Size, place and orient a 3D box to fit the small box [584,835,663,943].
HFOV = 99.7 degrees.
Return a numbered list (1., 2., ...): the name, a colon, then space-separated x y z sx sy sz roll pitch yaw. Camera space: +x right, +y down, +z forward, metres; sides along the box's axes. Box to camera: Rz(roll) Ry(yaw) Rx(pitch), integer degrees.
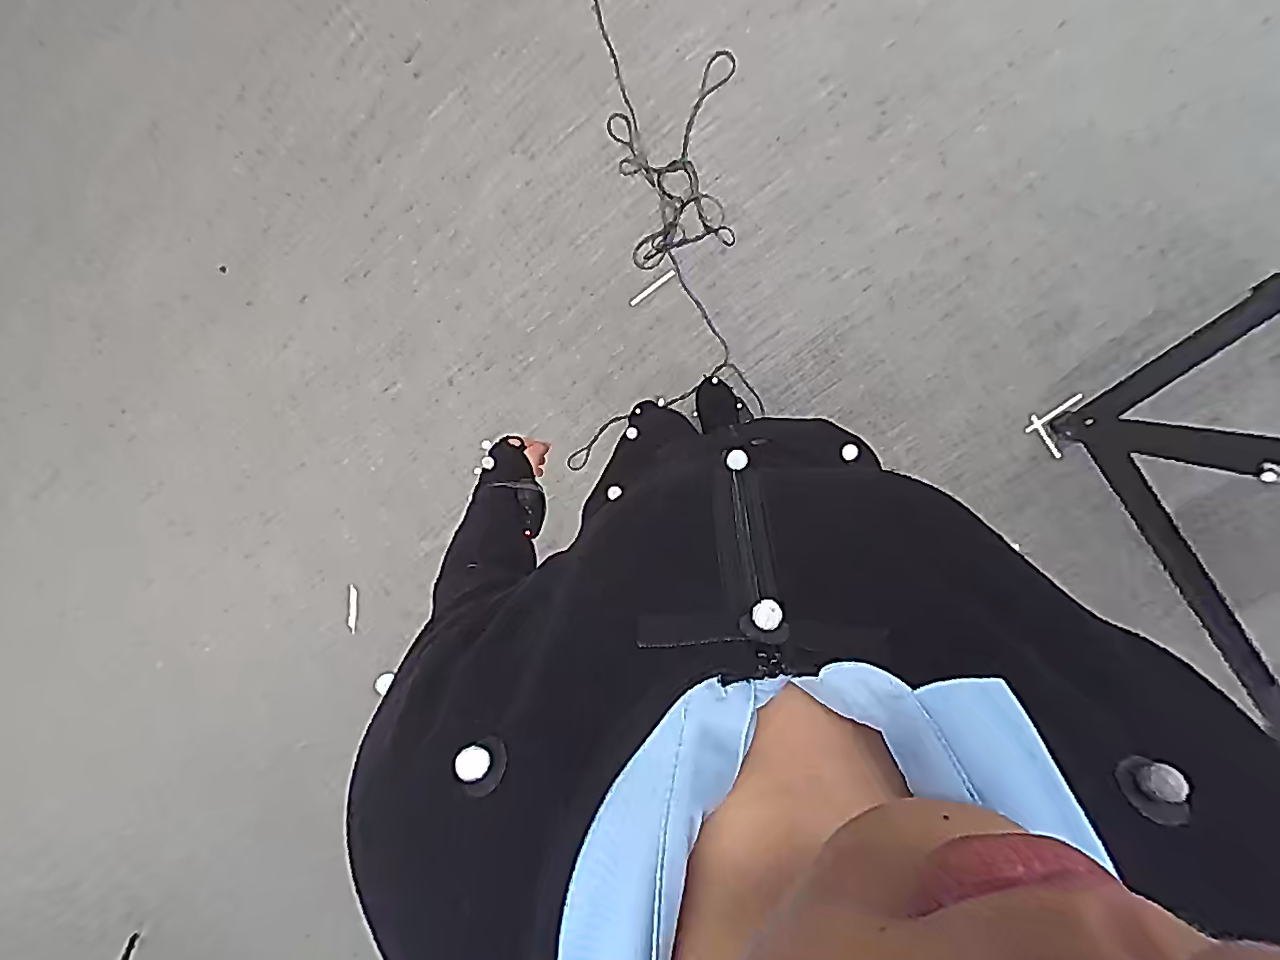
1. small box: -0.043 1.242 1.655 0.179 0.176 0.168 -39 94 11
